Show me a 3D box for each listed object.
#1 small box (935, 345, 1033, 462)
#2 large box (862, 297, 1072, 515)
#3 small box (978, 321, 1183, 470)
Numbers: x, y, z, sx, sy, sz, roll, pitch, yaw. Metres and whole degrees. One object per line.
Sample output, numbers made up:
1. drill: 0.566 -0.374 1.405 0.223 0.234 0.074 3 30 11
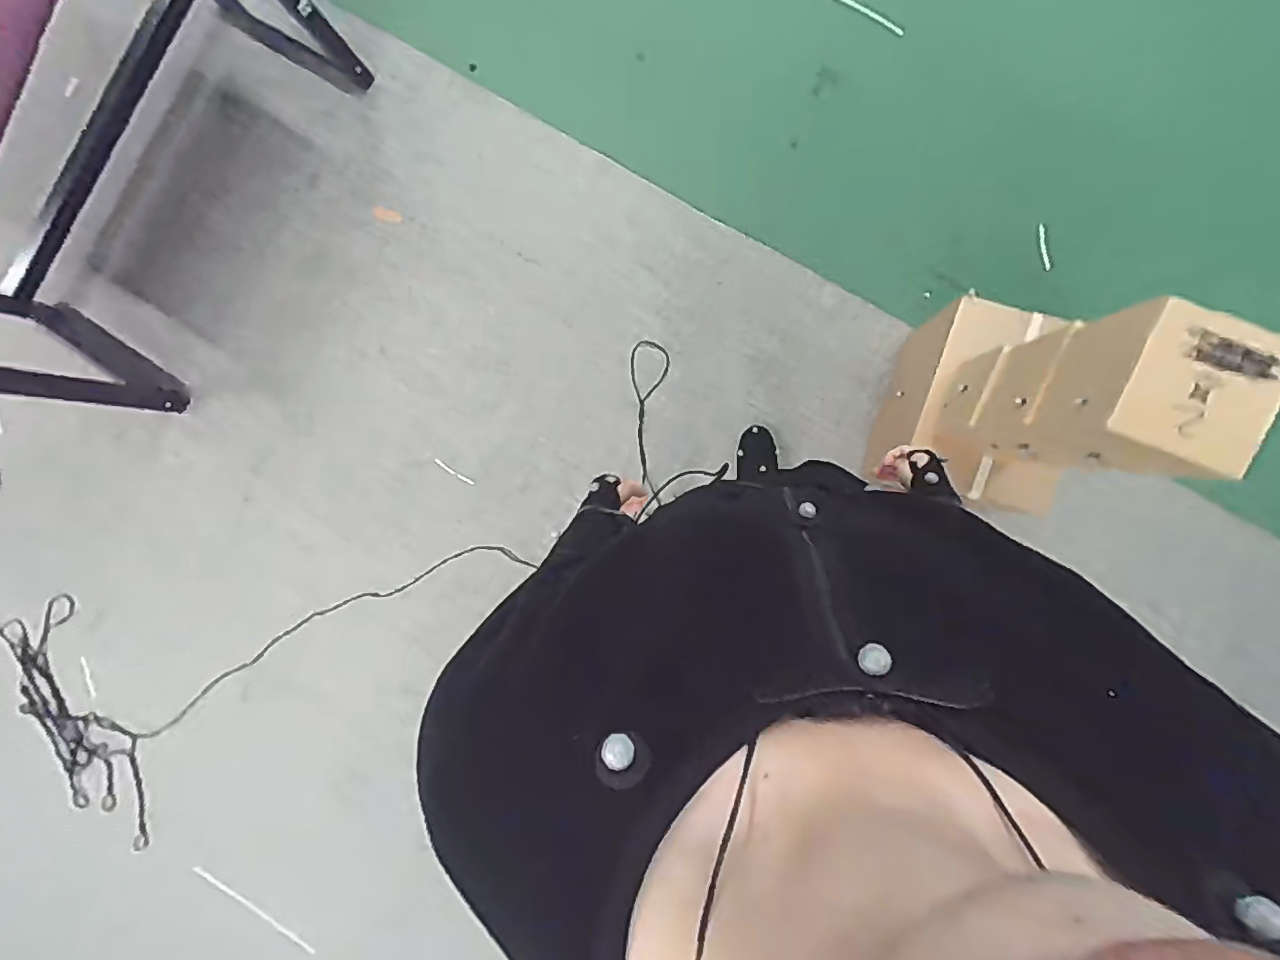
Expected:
1. small box: 0.712 -0.137 1.047 0.179 0.176 0.168 24 94 6
2. large box: 0.776 -0.155 1.287 0.320 0.320 0.408 18 91 4
3. small box: 0.699 -0.129 0.885 0.168 0.176 0.179 25 94 5
